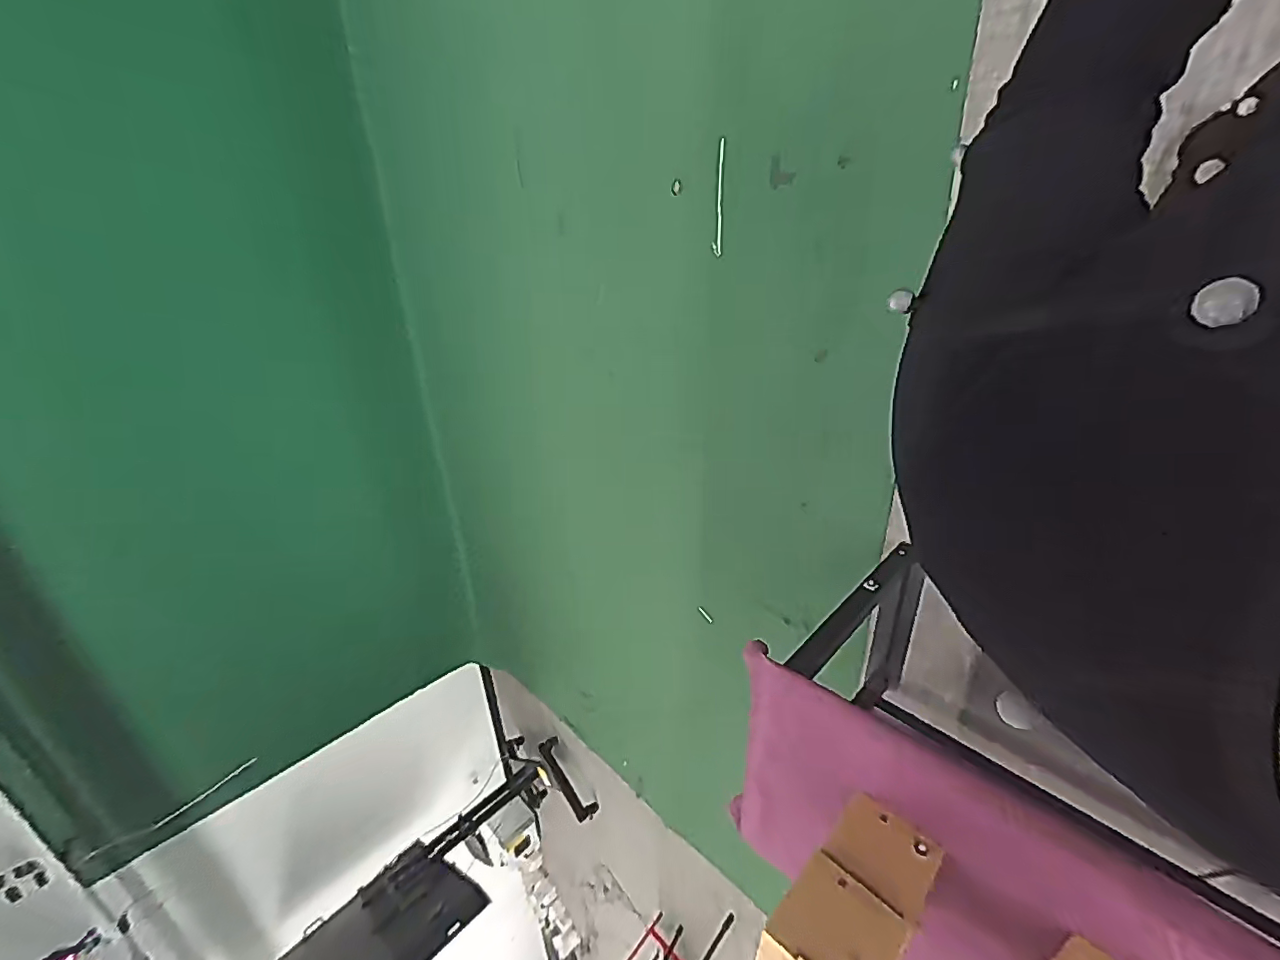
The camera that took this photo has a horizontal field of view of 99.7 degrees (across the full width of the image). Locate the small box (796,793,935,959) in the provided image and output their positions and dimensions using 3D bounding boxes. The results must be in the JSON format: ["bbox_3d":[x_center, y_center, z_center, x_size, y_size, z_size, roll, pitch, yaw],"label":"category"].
[{"bbox_3d":[0.417,0.730,0.999,0.168,0.176,0.179,28,129,38],"label":"small box"}]

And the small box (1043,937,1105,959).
[{"bbox_3d":[0.662,0.826,0.779,0.168,0.176,0.179,27,127,38],"label":"small box"}]
